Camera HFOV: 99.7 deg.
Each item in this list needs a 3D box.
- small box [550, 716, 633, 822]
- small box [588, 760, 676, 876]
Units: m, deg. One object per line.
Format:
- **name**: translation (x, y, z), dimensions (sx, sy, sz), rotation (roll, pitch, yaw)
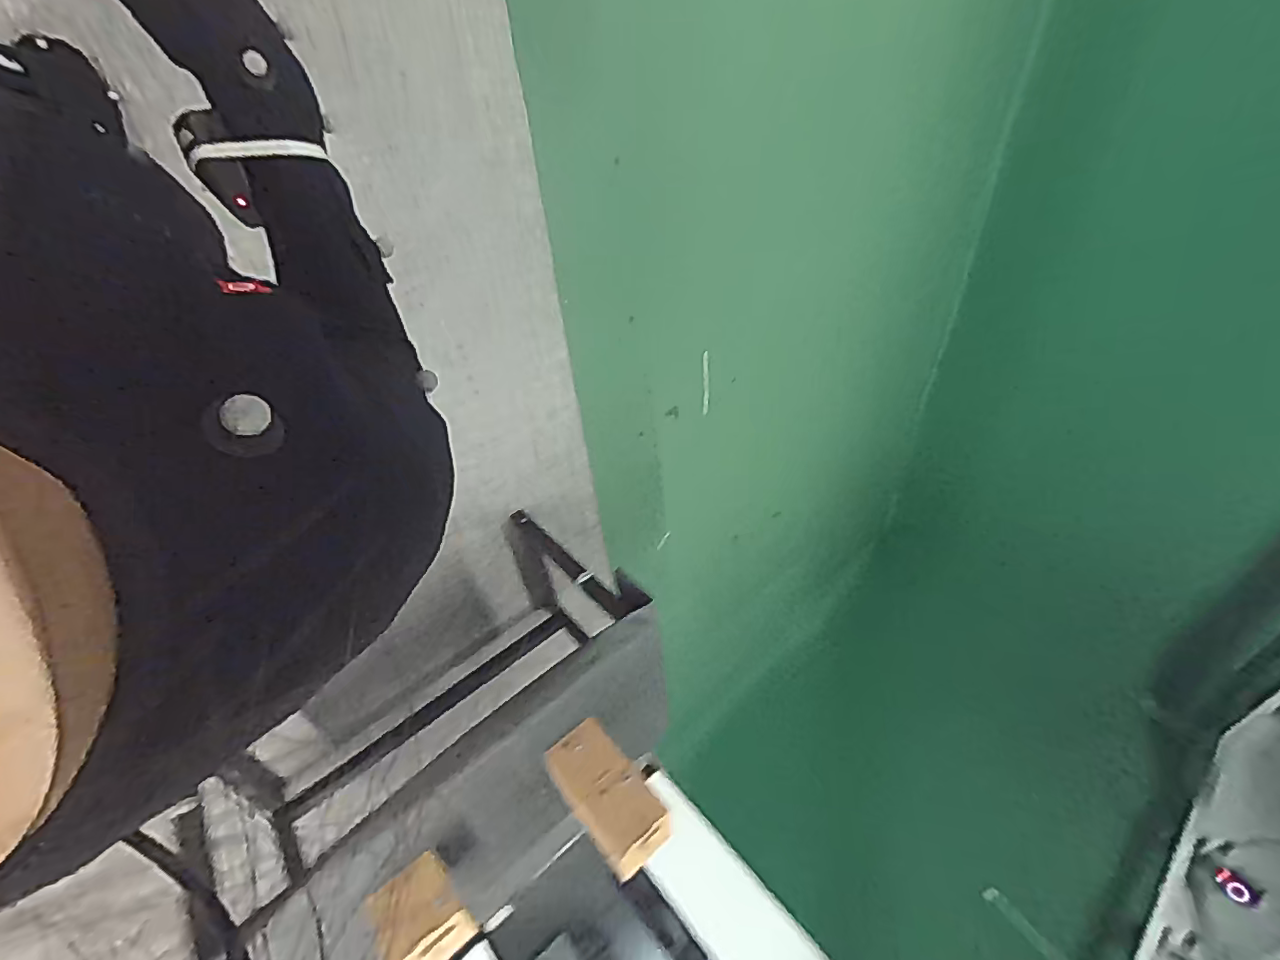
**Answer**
- **small box**: translation (-0.131, 0.804, 1.517), dimensions (0.168, 0.176, 0.179), rotation (-32, 136, -28)
- **small box**: translation (-0.021, 0.877, 1.420), dimensions (0.168, 0.176, 0.179), rotation (-30, 136, -29)
